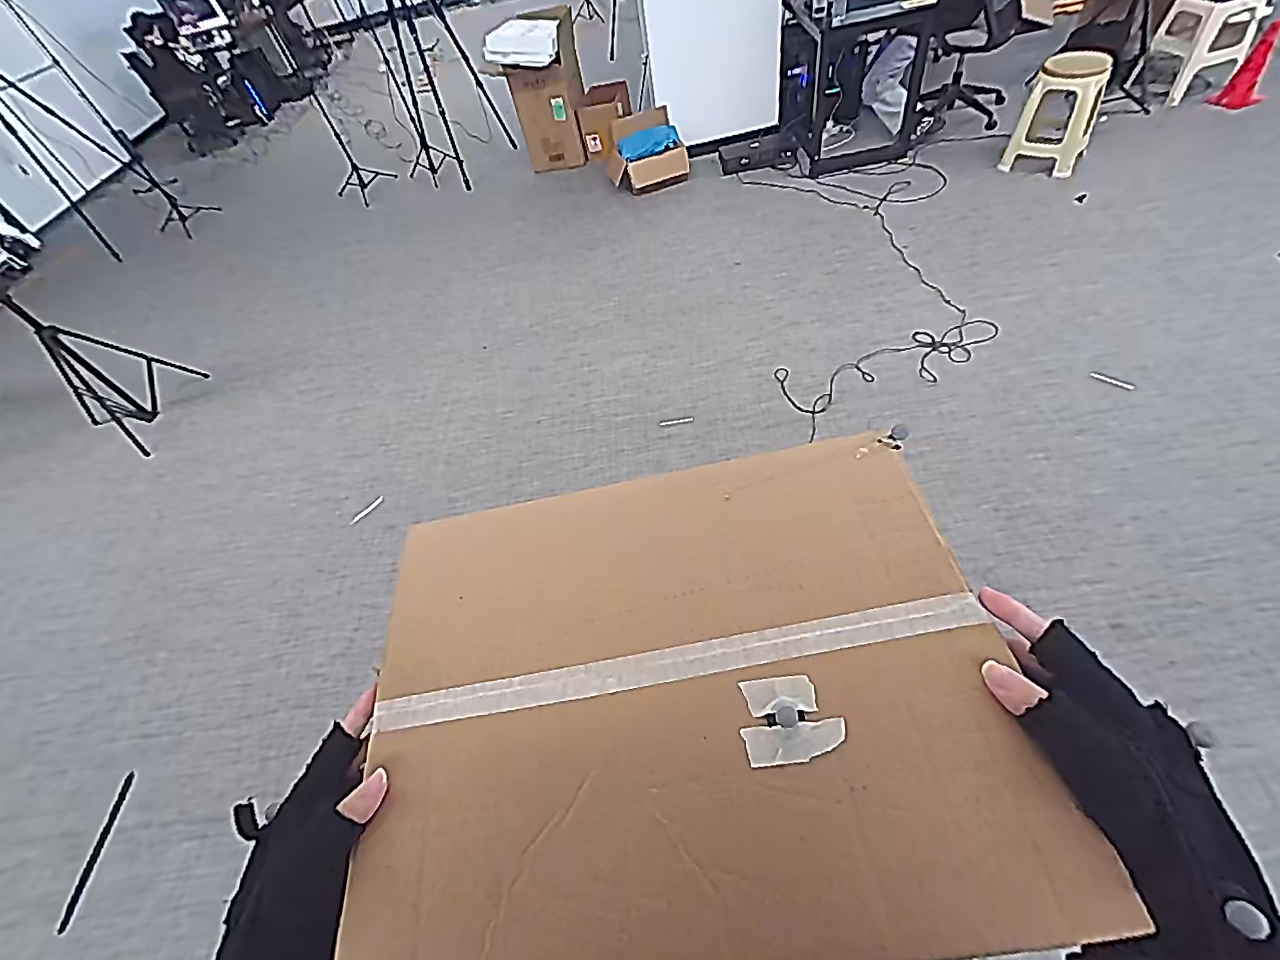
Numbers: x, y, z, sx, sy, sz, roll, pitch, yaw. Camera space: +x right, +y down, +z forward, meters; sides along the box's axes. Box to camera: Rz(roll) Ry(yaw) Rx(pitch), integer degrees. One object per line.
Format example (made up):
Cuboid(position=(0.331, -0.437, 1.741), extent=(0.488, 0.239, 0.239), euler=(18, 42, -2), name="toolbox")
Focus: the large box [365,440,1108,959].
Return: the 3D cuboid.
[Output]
Cuboid(position=(0.048, 0.213, 0.486), extent=(0.408, 0.320, 0.320), euler=(-11, 53, 4), name="large box")
